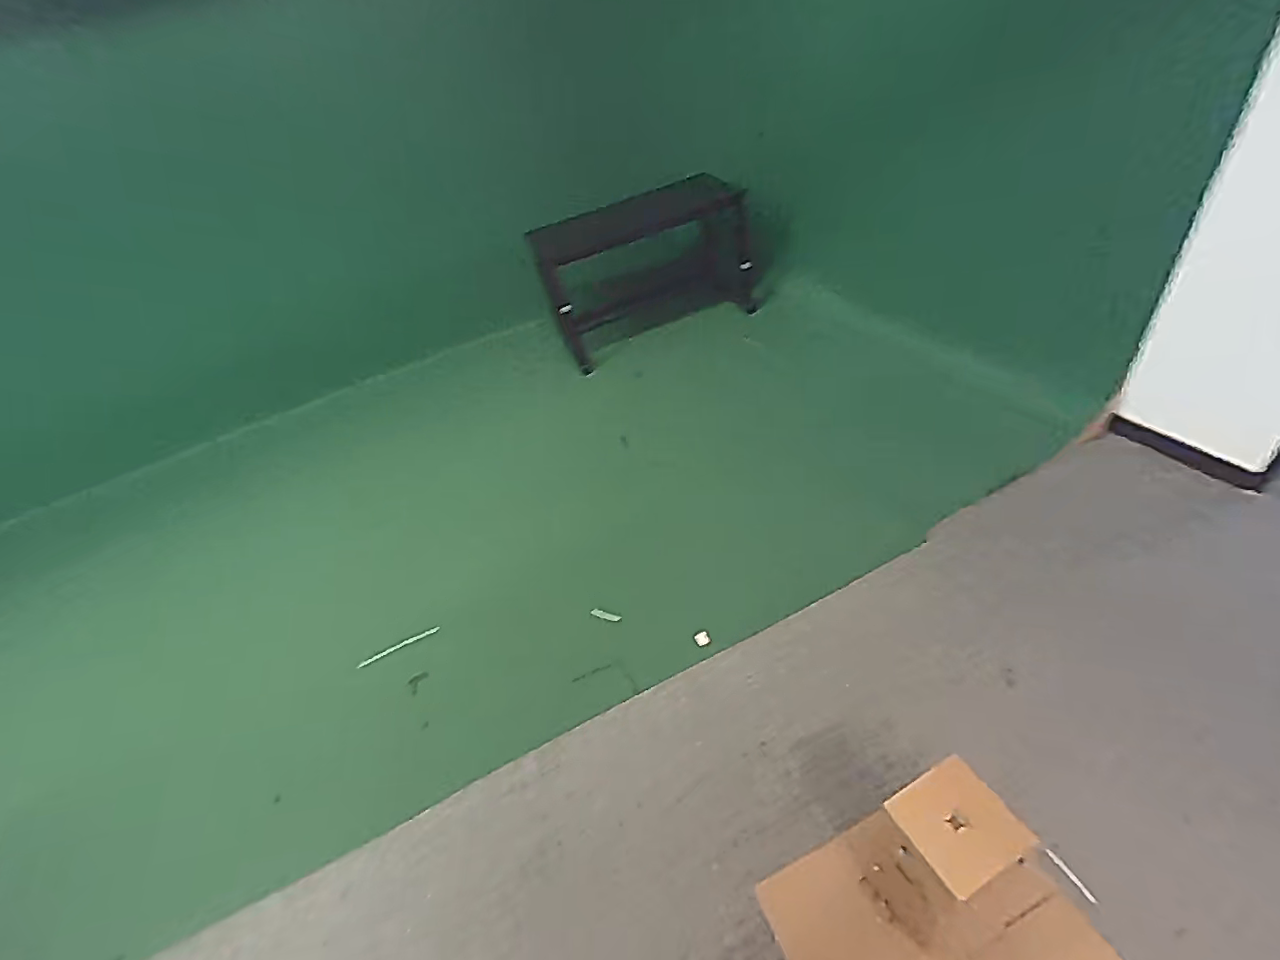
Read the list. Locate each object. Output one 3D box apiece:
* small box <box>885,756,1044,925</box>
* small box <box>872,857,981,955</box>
[{"bbox_3d":[0.563,0.643,0.964,0.179,0.176,0.168,-26,41,-12],"label":"small box"},{"bbox_3d":[0.630,0.880,1.177,0.179,0.176,0.168,-29,42,-15],"label":"small box"}]
